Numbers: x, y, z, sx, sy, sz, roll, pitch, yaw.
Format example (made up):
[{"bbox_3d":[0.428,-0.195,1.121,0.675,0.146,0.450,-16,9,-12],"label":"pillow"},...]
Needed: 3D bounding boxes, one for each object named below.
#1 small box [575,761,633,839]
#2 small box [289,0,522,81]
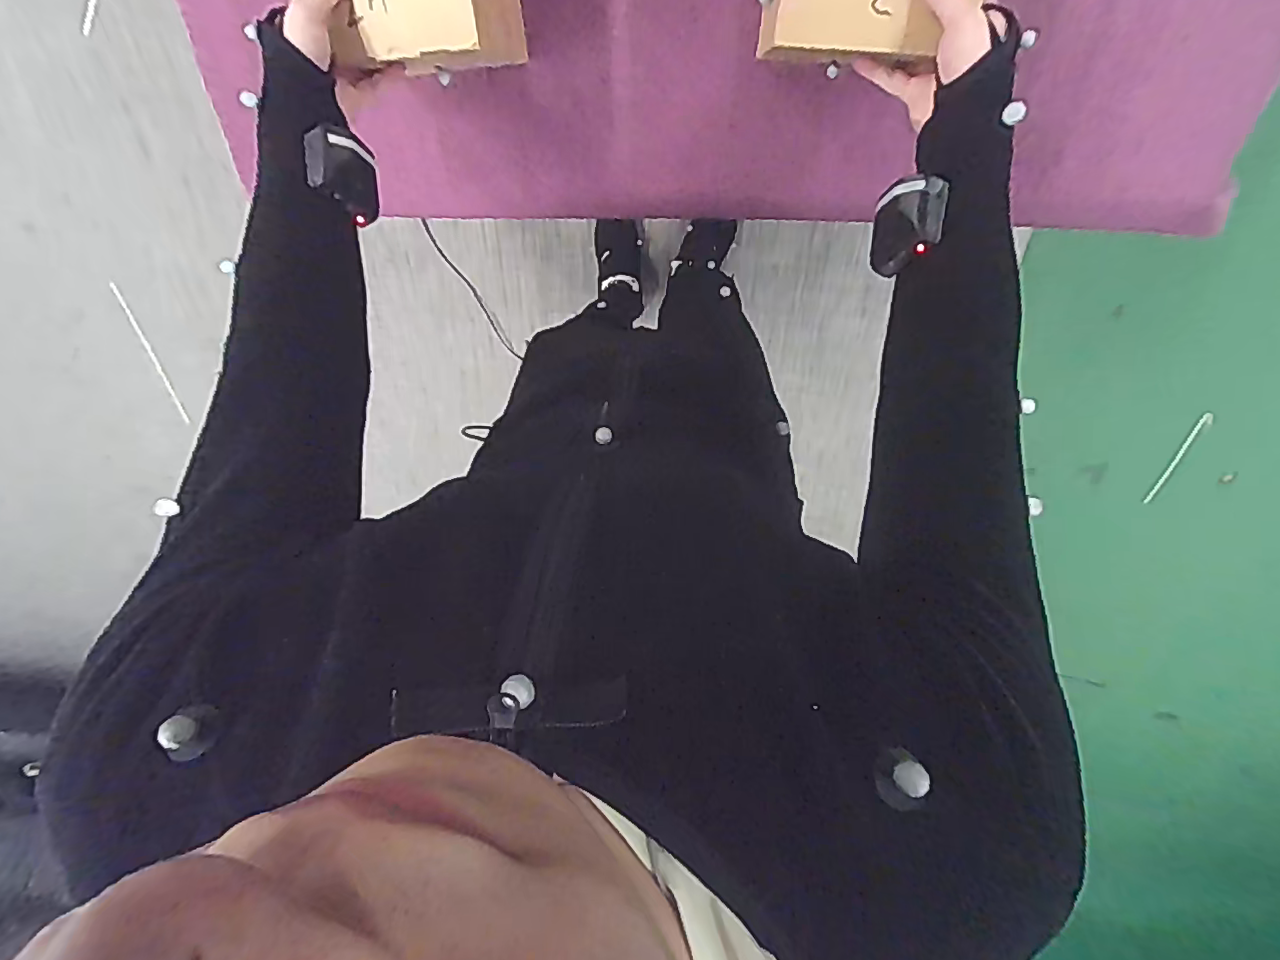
[{"bbox_3d":[-0.123,1.111,1.882,0.168,0.176,0.179,11,126,1],"label":"small box"},{"bbox_3d":[-0.227,-0.505,0.521,0.168,0.176,0.179,0,123,7],"label":"small box"}]
